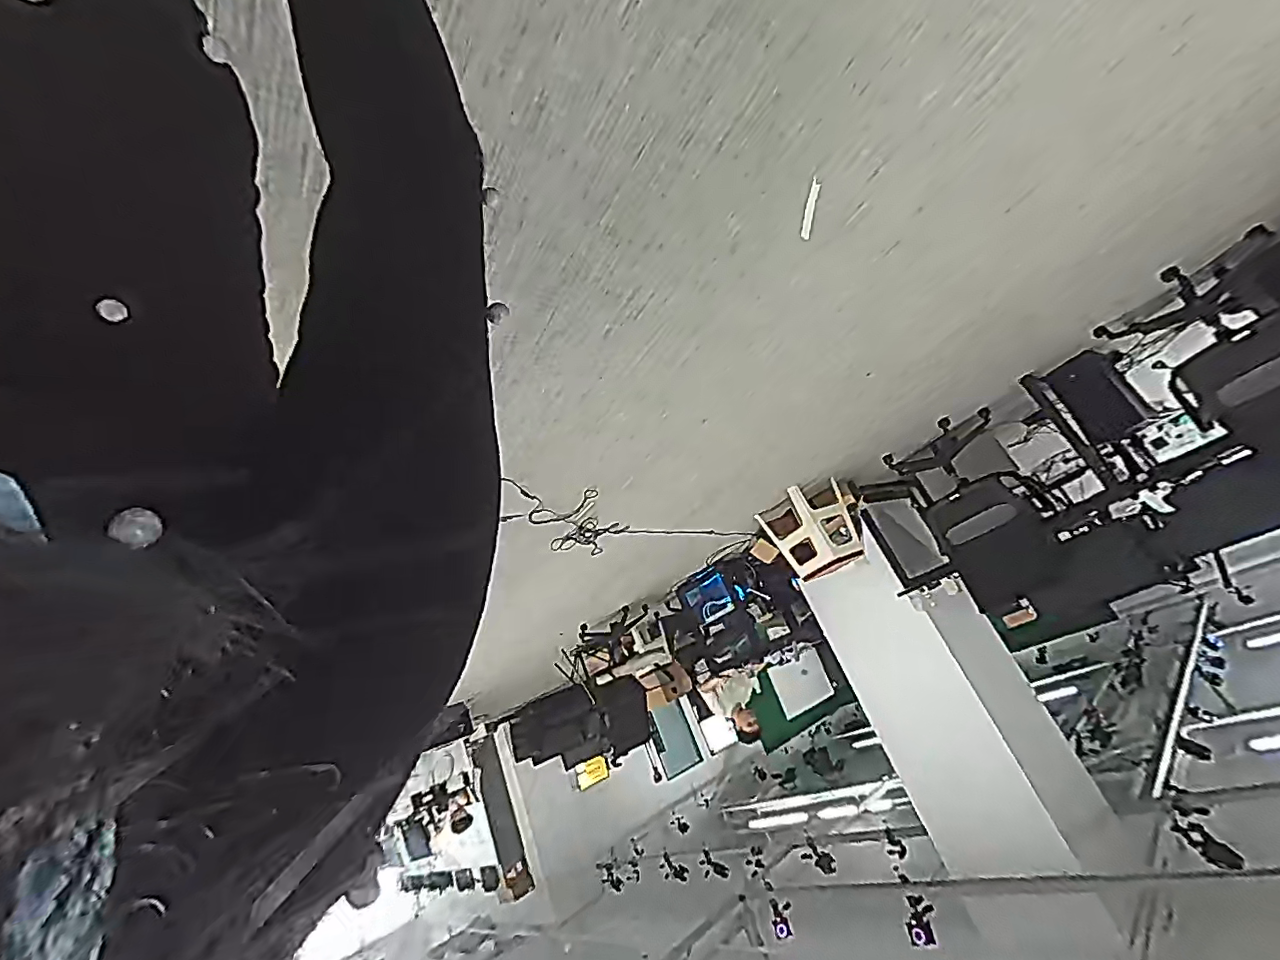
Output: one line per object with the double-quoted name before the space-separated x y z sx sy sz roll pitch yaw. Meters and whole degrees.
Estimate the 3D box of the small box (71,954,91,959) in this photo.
"small box" -1.479 1.315 1.335 0.179 0.176 0.168 -2 149 -44
